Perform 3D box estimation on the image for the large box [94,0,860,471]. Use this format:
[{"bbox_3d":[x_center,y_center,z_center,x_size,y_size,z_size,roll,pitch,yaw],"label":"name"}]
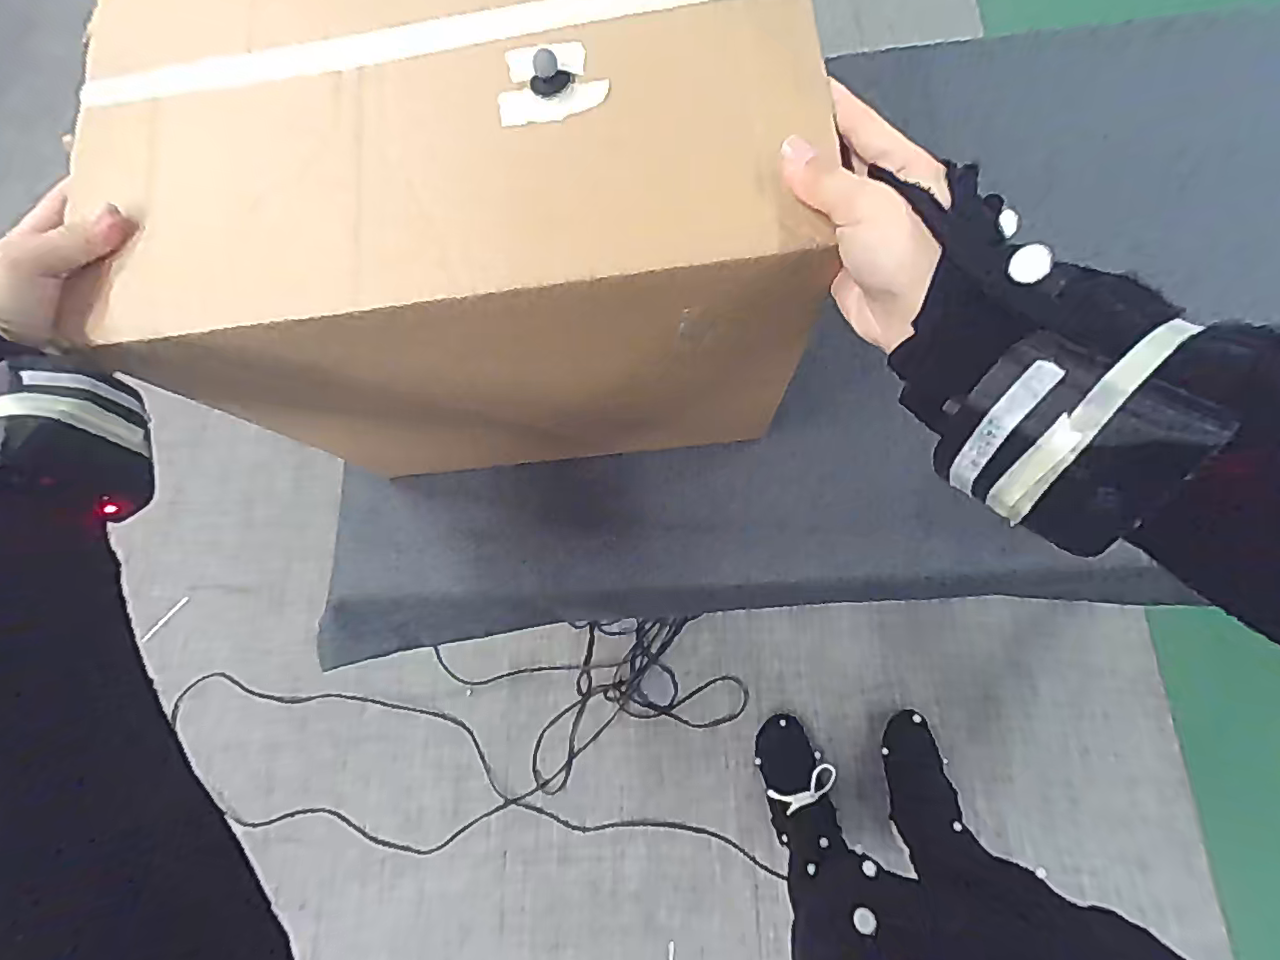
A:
[{"bbox_3d":[-0.093,-0.210,0.450,0.408,0.320,0.320,-6,78,3],"label":"large box"}]
